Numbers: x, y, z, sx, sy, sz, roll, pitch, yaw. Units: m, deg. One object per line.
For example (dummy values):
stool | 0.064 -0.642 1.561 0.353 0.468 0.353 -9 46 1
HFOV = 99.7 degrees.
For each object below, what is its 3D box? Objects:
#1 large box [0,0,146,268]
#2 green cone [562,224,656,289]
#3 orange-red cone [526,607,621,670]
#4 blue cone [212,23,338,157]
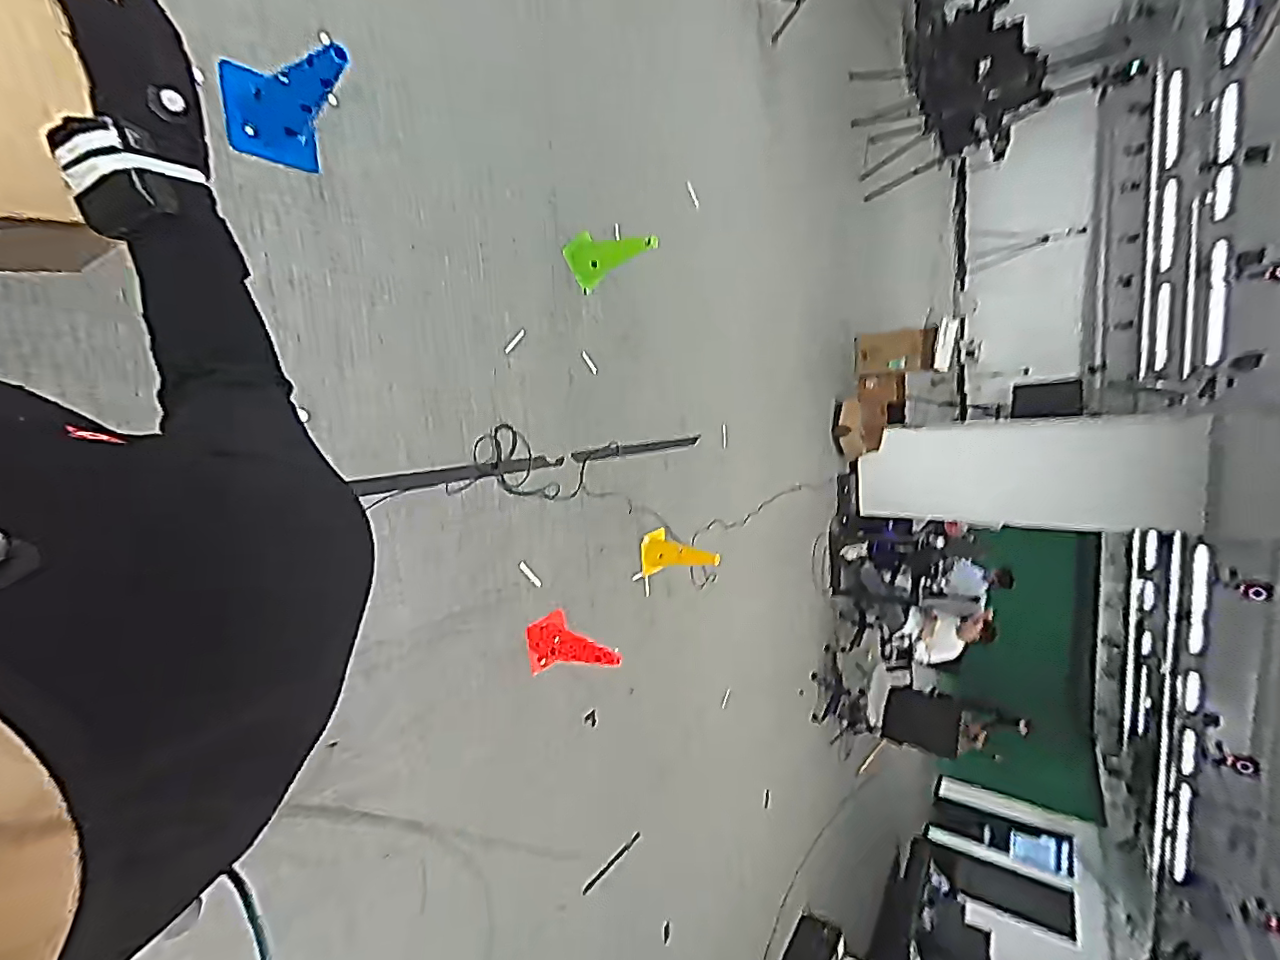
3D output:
large box | -0.639 -0.321 0.330 0.408 0.320 0.320 -21 113 -50
green cone | -0.089 -0.915 2.108 0.202 0.368 0.200 58 48 -35
orange-red cone | -0.221 0.612 1.986 0.199 0.360 0.198 -19 107 -53
blue cone | -0.780 -0.901 1.211 0.193 0.380 0.192 -9 97 -53
